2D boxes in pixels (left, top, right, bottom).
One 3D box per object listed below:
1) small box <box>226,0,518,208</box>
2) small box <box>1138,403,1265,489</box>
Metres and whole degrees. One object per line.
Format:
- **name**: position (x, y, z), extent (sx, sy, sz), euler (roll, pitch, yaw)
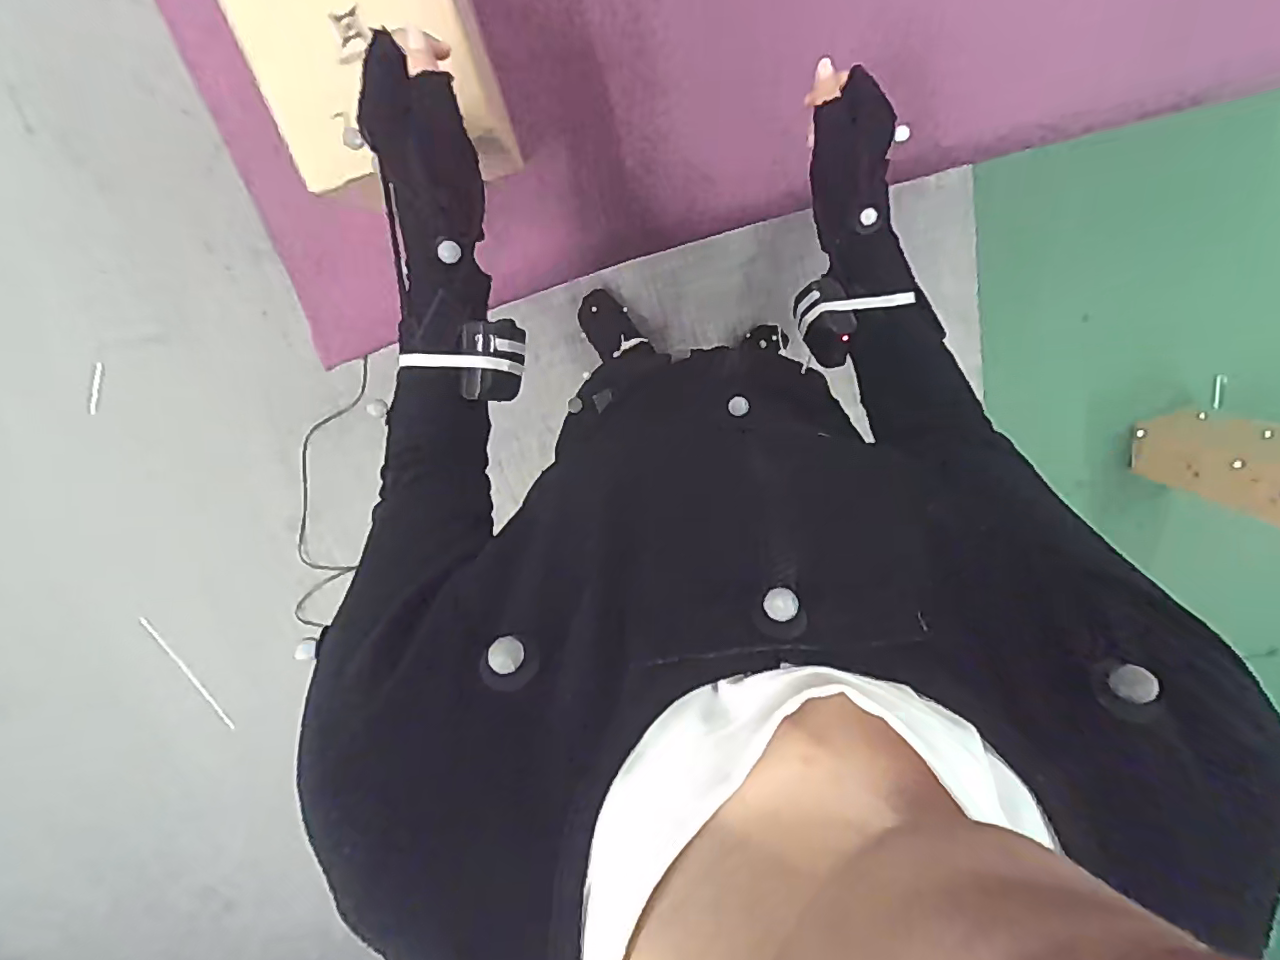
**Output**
- **small box**: position (-0.227, -0.372, 0.497), extent (0.168, 0.176, 0.179), euler (-16, 112, 3)
- **small box**: position (1.524, -0.097, 1.481), extent (0.179, 0.176, 0.168), euler (-16, 112, 3)
